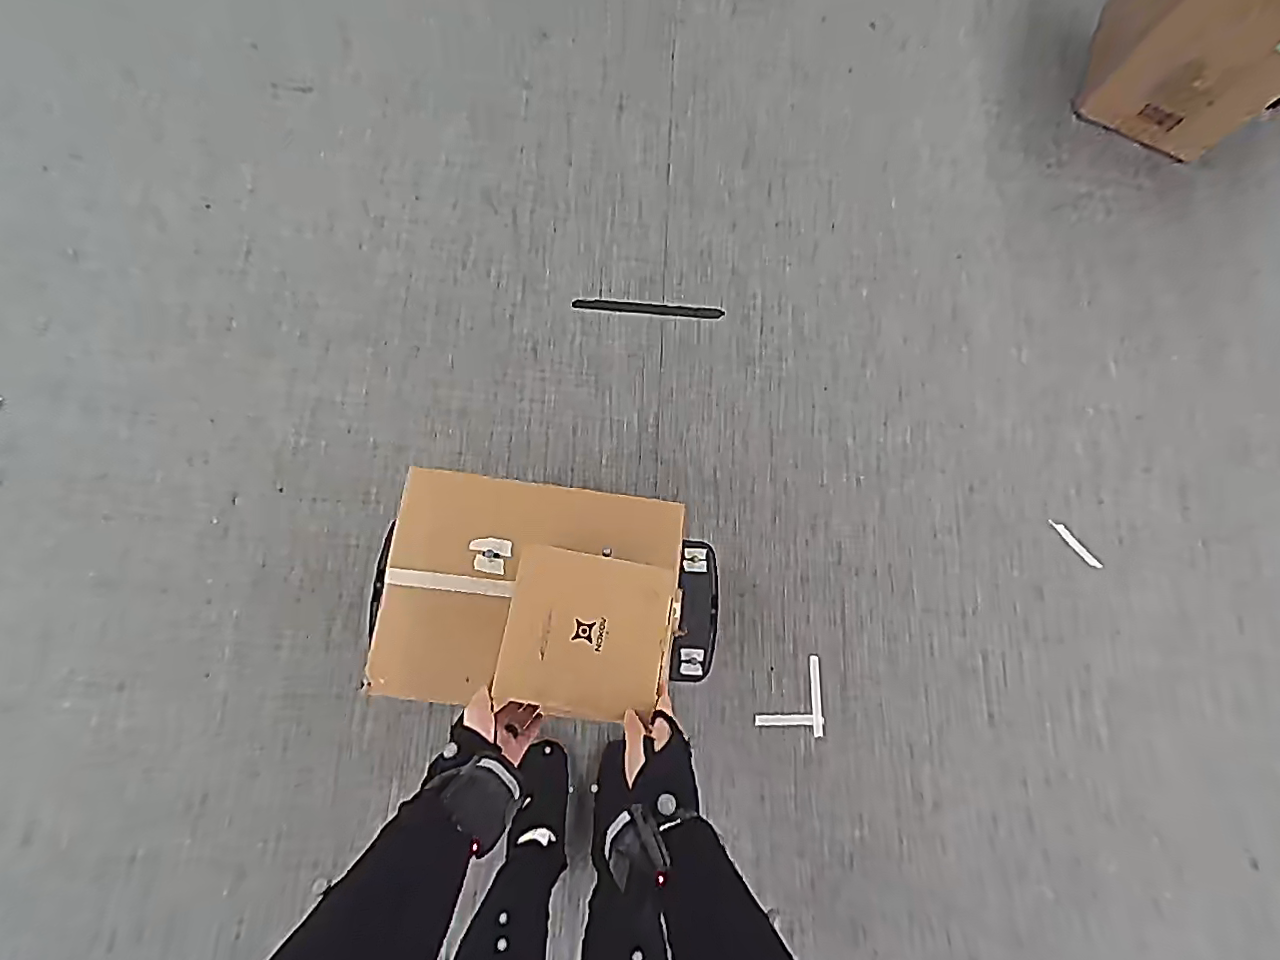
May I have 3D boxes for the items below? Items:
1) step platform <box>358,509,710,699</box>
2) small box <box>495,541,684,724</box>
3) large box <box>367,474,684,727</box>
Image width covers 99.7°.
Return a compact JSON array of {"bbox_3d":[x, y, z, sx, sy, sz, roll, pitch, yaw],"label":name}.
[{"bbox_3d":[-0.198,0.254,1.120,0.684,0.204,0.286,10,76,-2],"label":"step platform"},{"bbox_3d":[-0.057,0.176,0.653,0.179,0.176,0.168,11,77,-2],"label":"small box"},{"bbox_3d":[-0.155,0.192,0.893,0.408,0.320,0.320,8,76,-3],"label":"large box"}]
